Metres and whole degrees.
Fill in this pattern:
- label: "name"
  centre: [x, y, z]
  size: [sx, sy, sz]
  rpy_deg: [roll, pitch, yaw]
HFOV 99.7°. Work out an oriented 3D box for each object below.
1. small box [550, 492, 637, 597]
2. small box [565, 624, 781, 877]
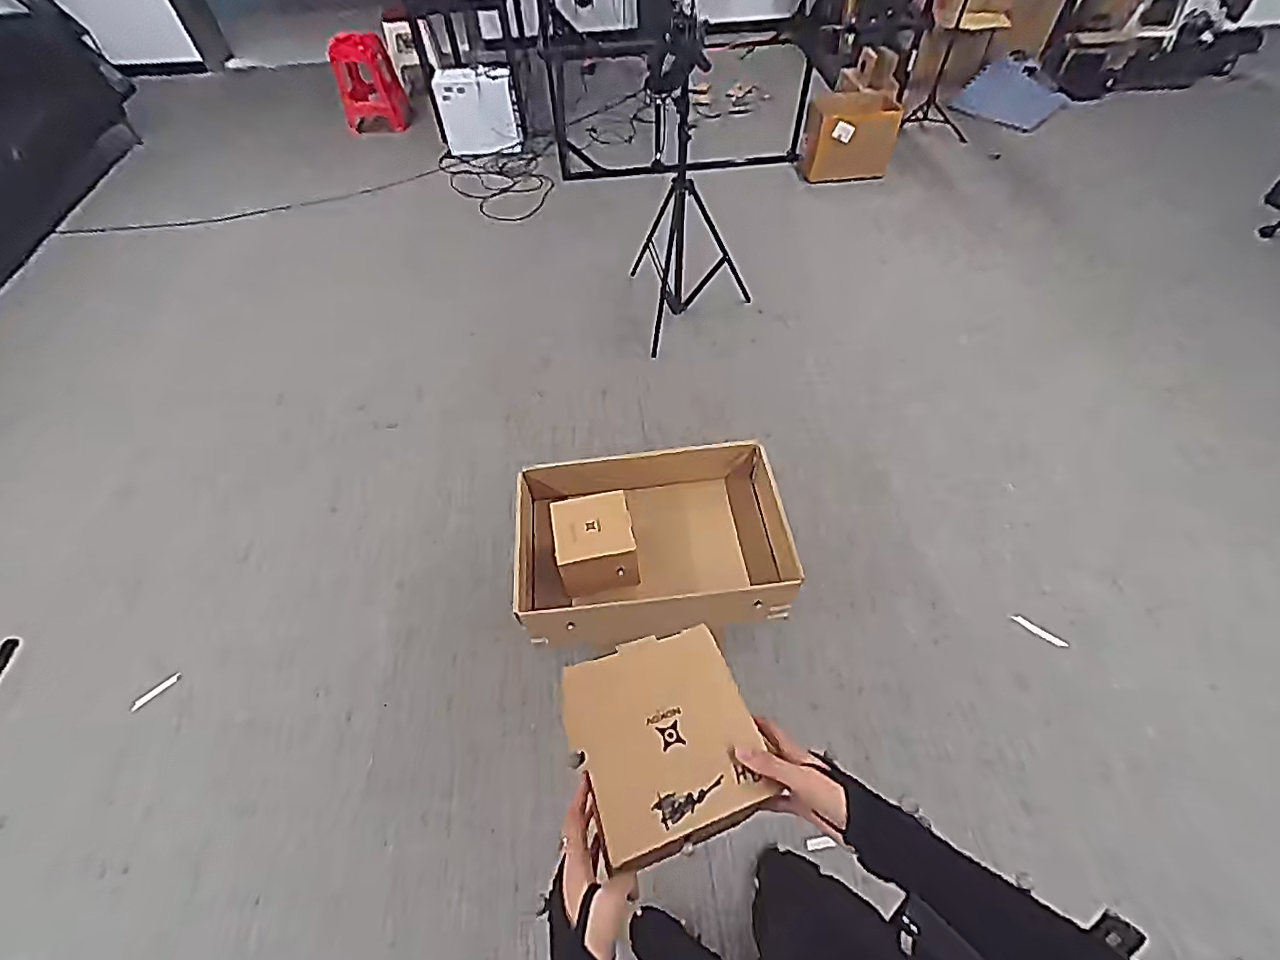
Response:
- label: "small box"
  centre: [-0.104, 0.152, 1.260]
  size: [0.179, 0.176, 0.168]
  rpy_deg: [-11, 53, -4]
- label: "small box"
  centre: [0.018, 0.288, 0.581]
  size: [0.168, 0.176, 0.179]
  rpy_deg: [-13, 51, -17]
